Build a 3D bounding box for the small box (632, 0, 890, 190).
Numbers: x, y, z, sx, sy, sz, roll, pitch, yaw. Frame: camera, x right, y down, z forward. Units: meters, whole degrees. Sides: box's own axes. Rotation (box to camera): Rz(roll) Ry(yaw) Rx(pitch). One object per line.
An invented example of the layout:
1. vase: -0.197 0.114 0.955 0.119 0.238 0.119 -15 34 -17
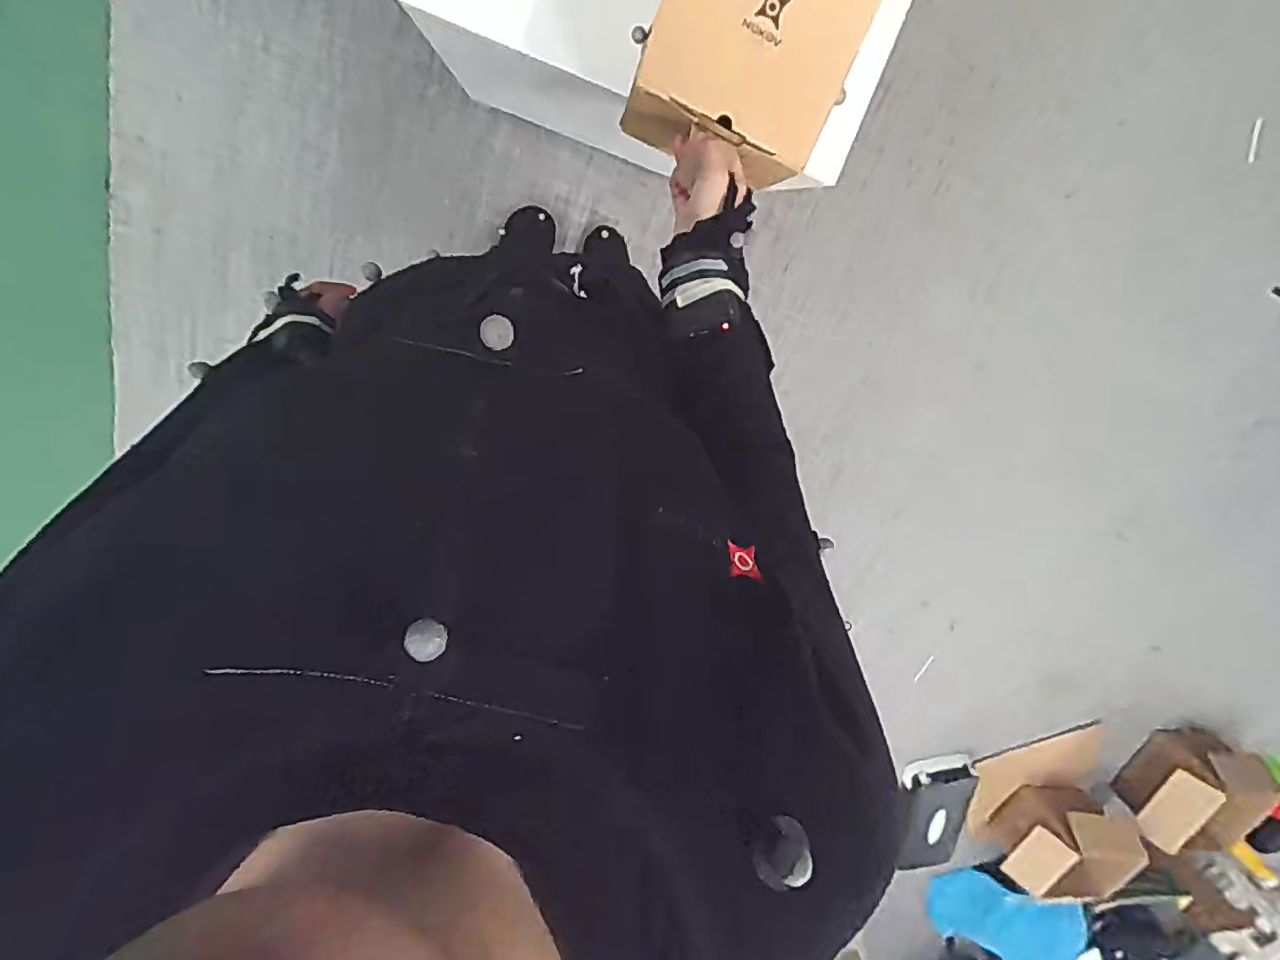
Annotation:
1. small box: 0.099 -0.402 0.507 0.168 0.176 0.179 19 109 -13
